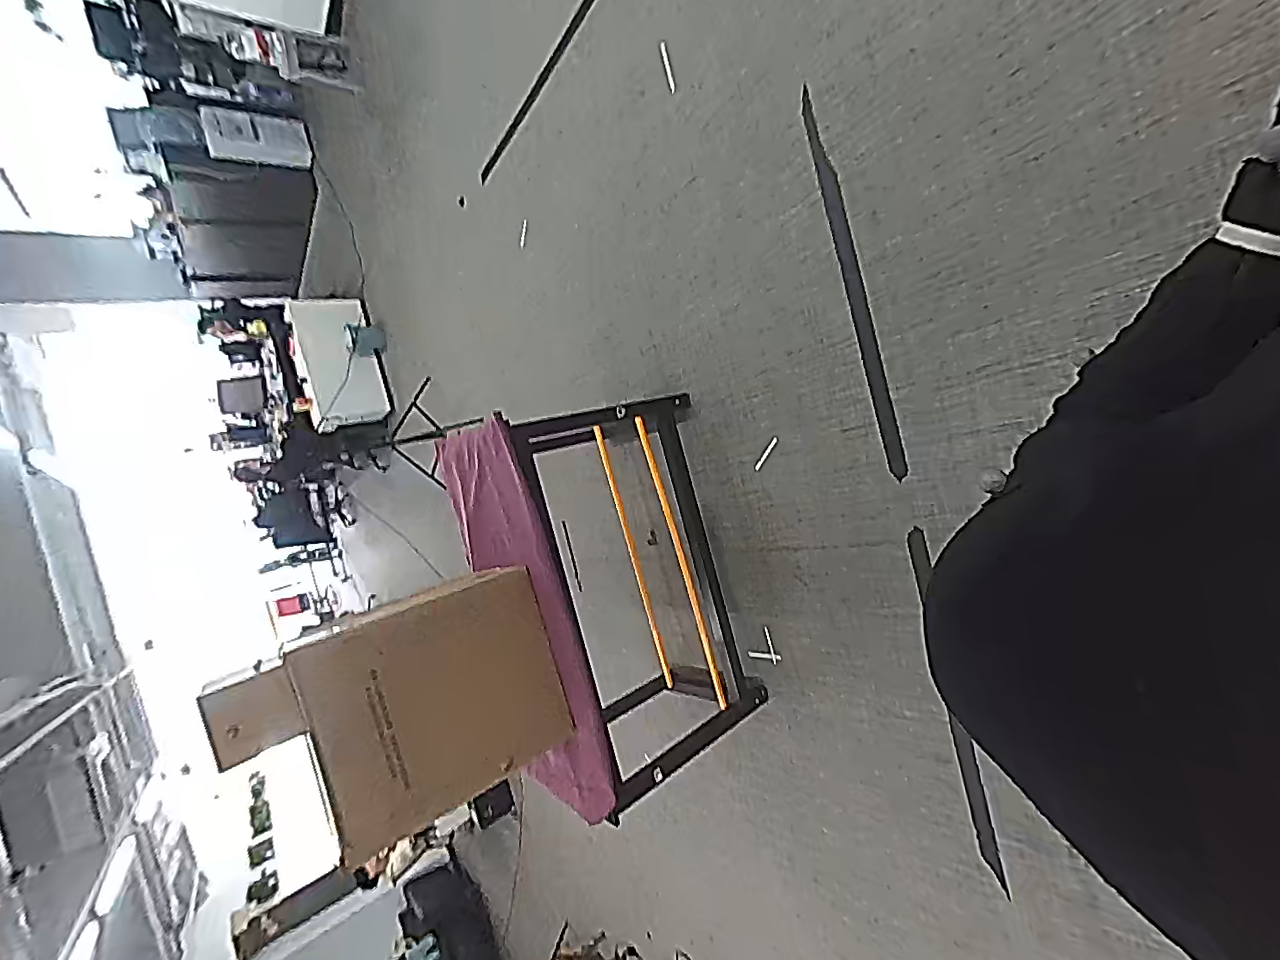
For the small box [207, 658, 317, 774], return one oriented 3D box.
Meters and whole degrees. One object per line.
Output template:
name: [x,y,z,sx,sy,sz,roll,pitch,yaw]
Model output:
small box: [-0.868,0.536,1.252,0.168,0.176,0.179,-21,88,53]
